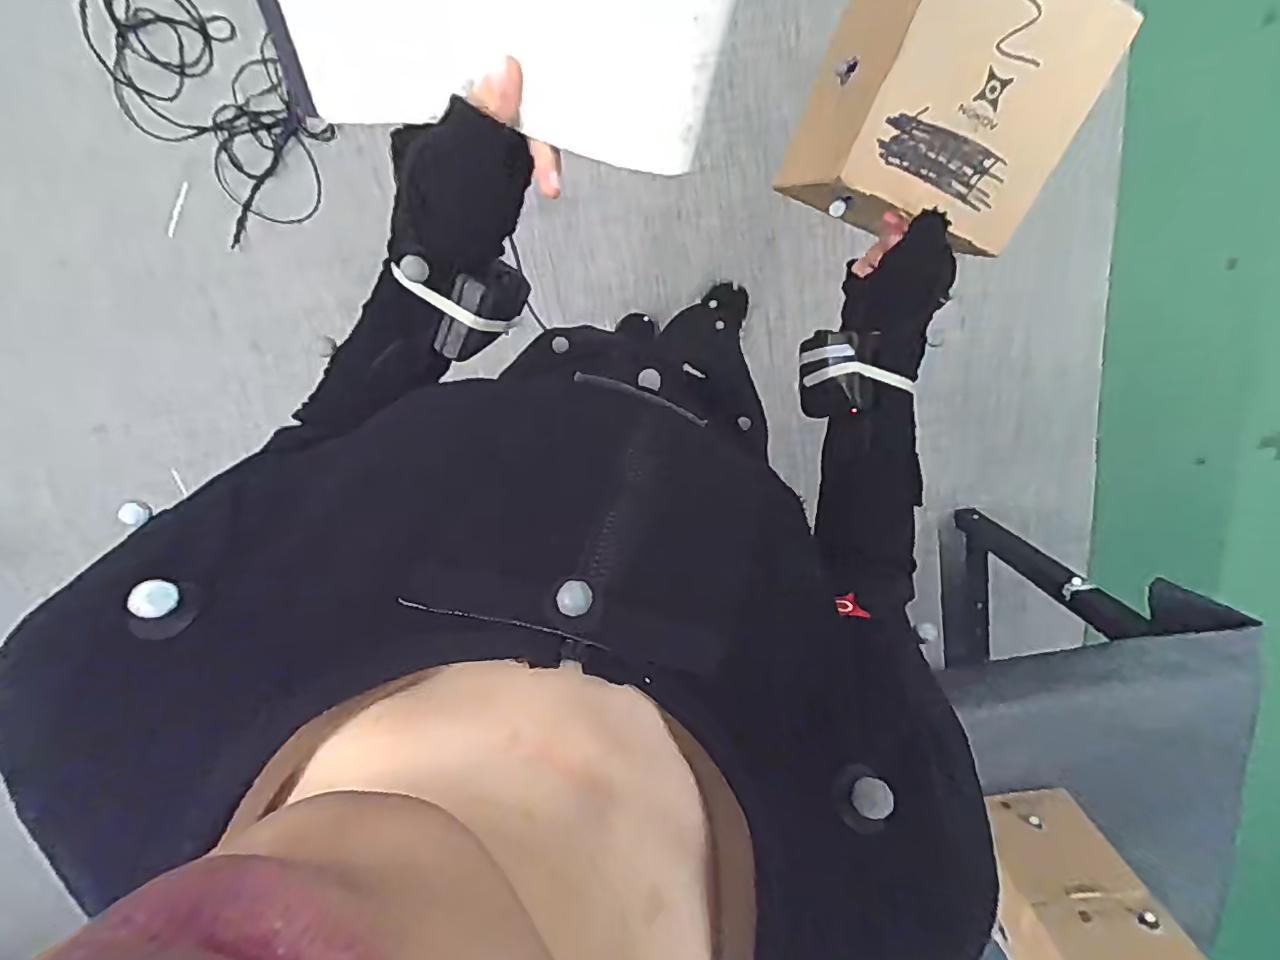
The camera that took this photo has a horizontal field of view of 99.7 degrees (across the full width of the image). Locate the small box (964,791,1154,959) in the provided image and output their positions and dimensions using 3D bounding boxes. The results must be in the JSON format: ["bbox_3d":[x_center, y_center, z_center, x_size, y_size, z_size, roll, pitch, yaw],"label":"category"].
[{"bbox_3d":[0.630,0.623,0.837,0.168,0.176,0.179,-10,108,4],"label":"small box"}]

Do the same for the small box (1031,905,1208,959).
[{"bbox_3d":[0.629,0.676,0.682,0.168,0.176,0.179,-8,109,4],"label":"small box"}]
